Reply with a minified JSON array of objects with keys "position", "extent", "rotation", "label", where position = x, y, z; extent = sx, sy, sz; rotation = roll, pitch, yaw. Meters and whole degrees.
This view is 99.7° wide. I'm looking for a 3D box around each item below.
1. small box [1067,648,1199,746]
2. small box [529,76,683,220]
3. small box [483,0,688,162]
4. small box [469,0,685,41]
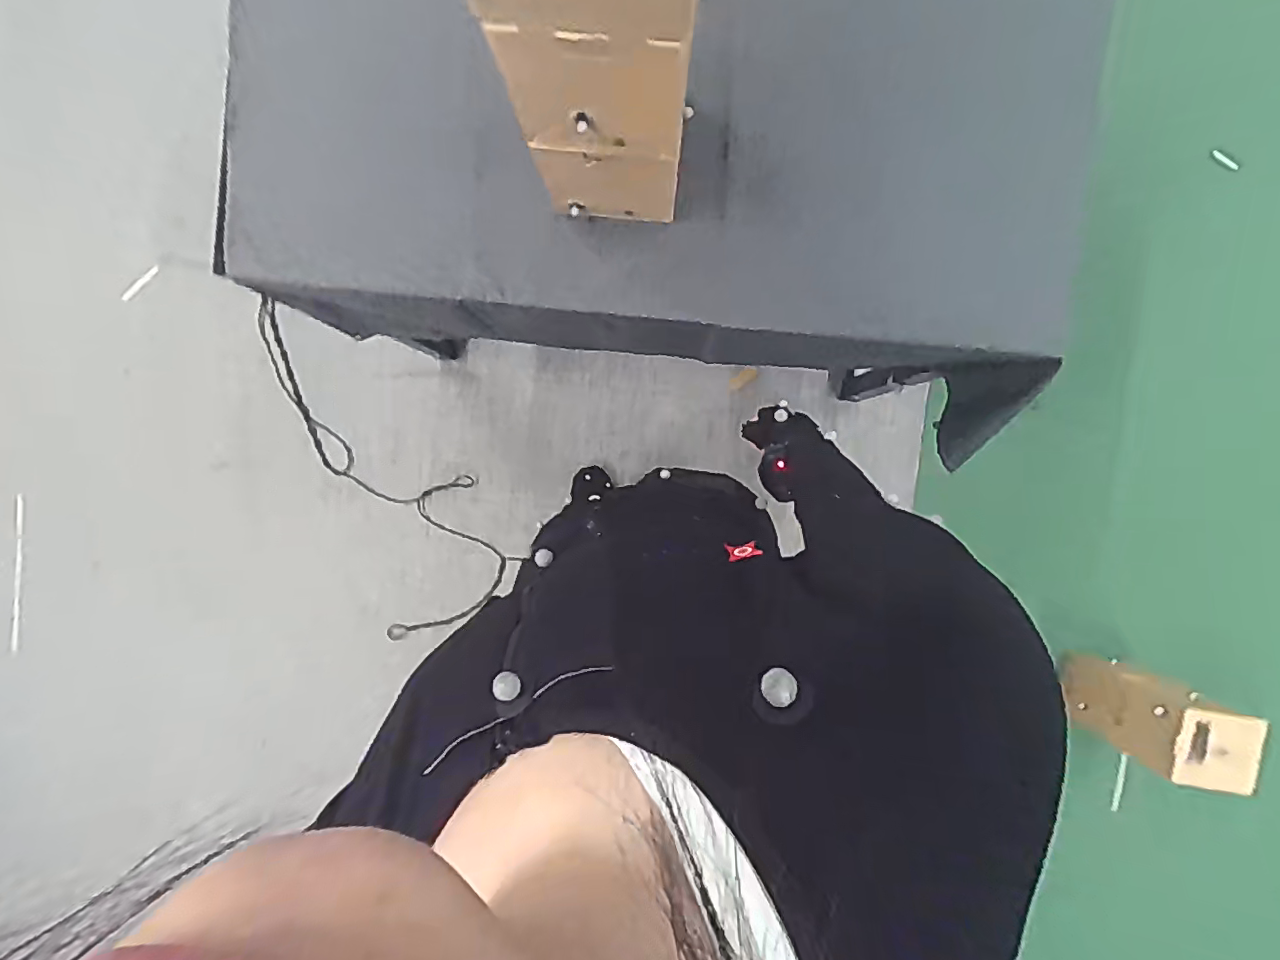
[{"position":[1.255,0.548,1.391],"extent":[0.179,0.176,0.168],"rotation":[10,93,2],"label":"small box"},{"position":[-0.034,-0.451,0.681],"extent":[0.168,0.176,0.179],"rotation":[5,91,2],"label":"small box"},{"position":[-0.039,-0.445,0.519],"extent":[0.168,0.176,0.179],"rotation":[5,92,2],"label":"small box"},{"position":[-0.042,-0.436,0.354],"extent":[0.179,0.176,0.168],"rotation":[7,92,2],"label":"small box"}]
